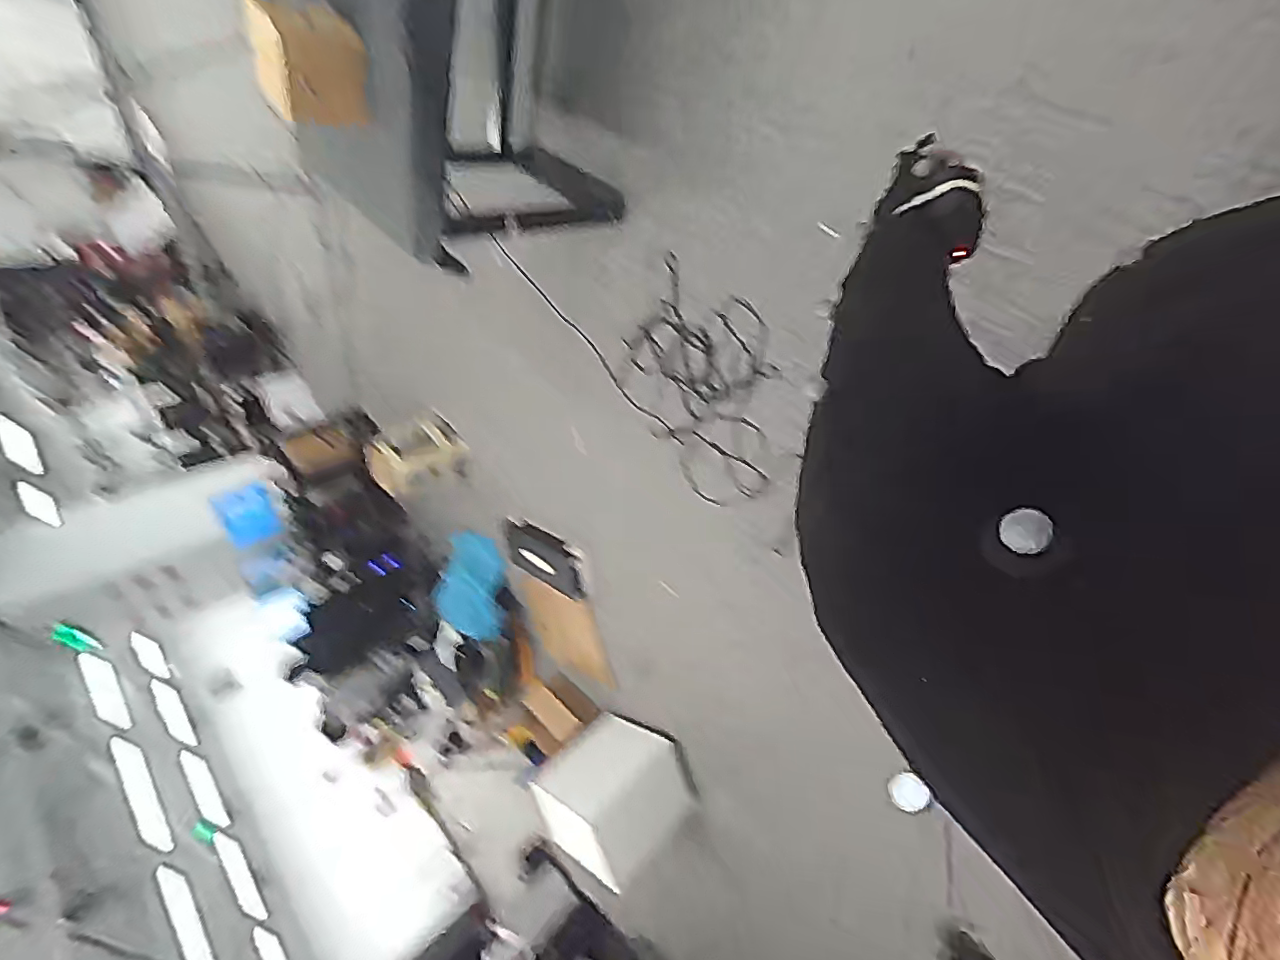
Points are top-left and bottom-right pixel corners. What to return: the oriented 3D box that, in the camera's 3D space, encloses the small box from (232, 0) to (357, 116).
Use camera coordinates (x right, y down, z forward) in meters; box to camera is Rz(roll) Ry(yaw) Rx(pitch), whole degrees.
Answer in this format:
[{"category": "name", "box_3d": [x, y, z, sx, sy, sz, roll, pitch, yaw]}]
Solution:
[{"category": "small box", "box_3d": [-0.721, -0.905, 1.142, 0.168, 0.176, 0.179, 47, 139, 18]}]
